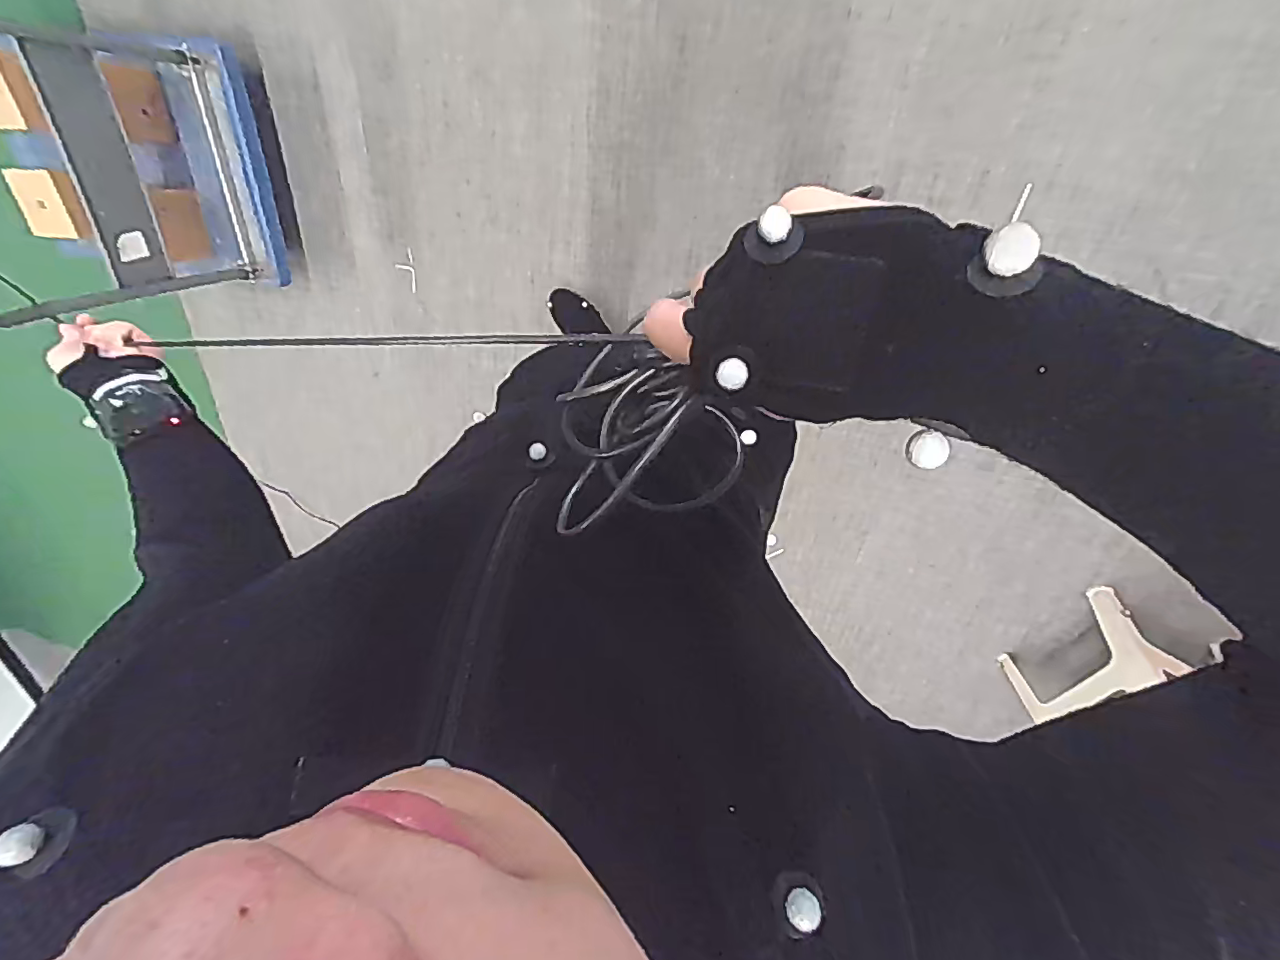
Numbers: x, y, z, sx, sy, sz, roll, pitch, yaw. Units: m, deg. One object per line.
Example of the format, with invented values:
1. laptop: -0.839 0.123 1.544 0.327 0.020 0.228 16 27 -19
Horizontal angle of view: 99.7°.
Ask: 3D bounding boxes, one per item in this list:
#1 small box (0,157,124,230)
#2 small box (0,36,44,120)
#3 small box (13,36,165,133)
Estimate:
1. small box: -1.595 -0.798 1.498 0.179 0.176 0.168 10 121 13
2. small box: -1.590 -1.014 1.369 0.179 0.176 0.168 9 122 12
3. small box: -1.331 -0.956 1.319 0.179 0.176 0.168 13 122 10
